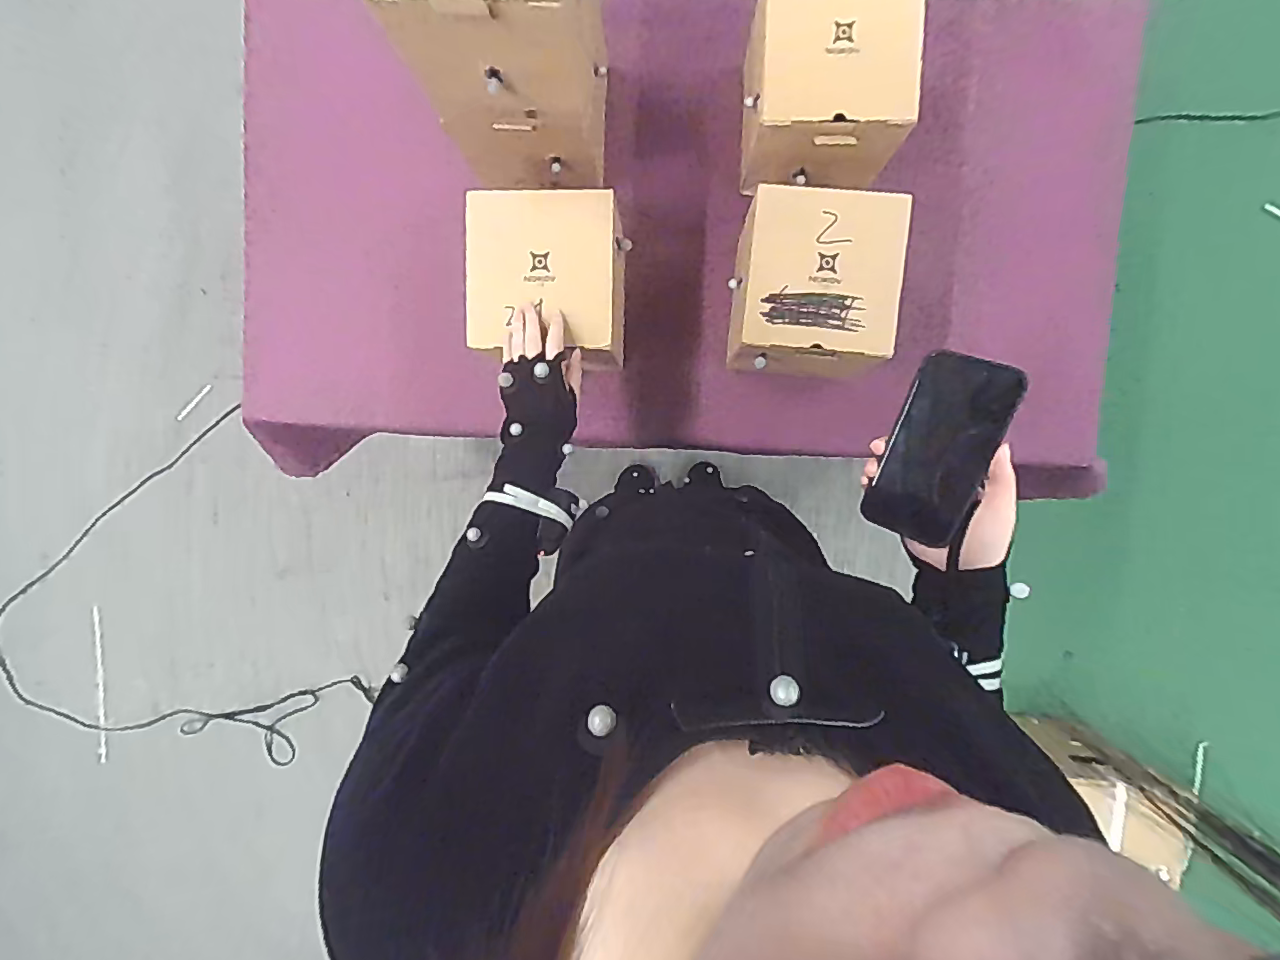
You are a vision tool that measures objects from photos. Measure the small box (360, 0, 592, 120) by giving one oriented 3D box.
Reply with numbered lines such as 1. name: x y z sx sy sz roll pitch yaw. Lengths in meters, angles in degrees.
1. small box: -0.136 -0.469 0.500 0.168 0.176 0.179 3 95 1

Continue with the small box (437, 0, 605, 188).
1. small box: -0.134 -0.483 0.664 0.168 0.176 0.179 3 94 2

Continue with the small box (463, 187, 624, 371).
1. small box: -0.110 -0.239 0.678 0.168 0.176 0.179 1 93 3
